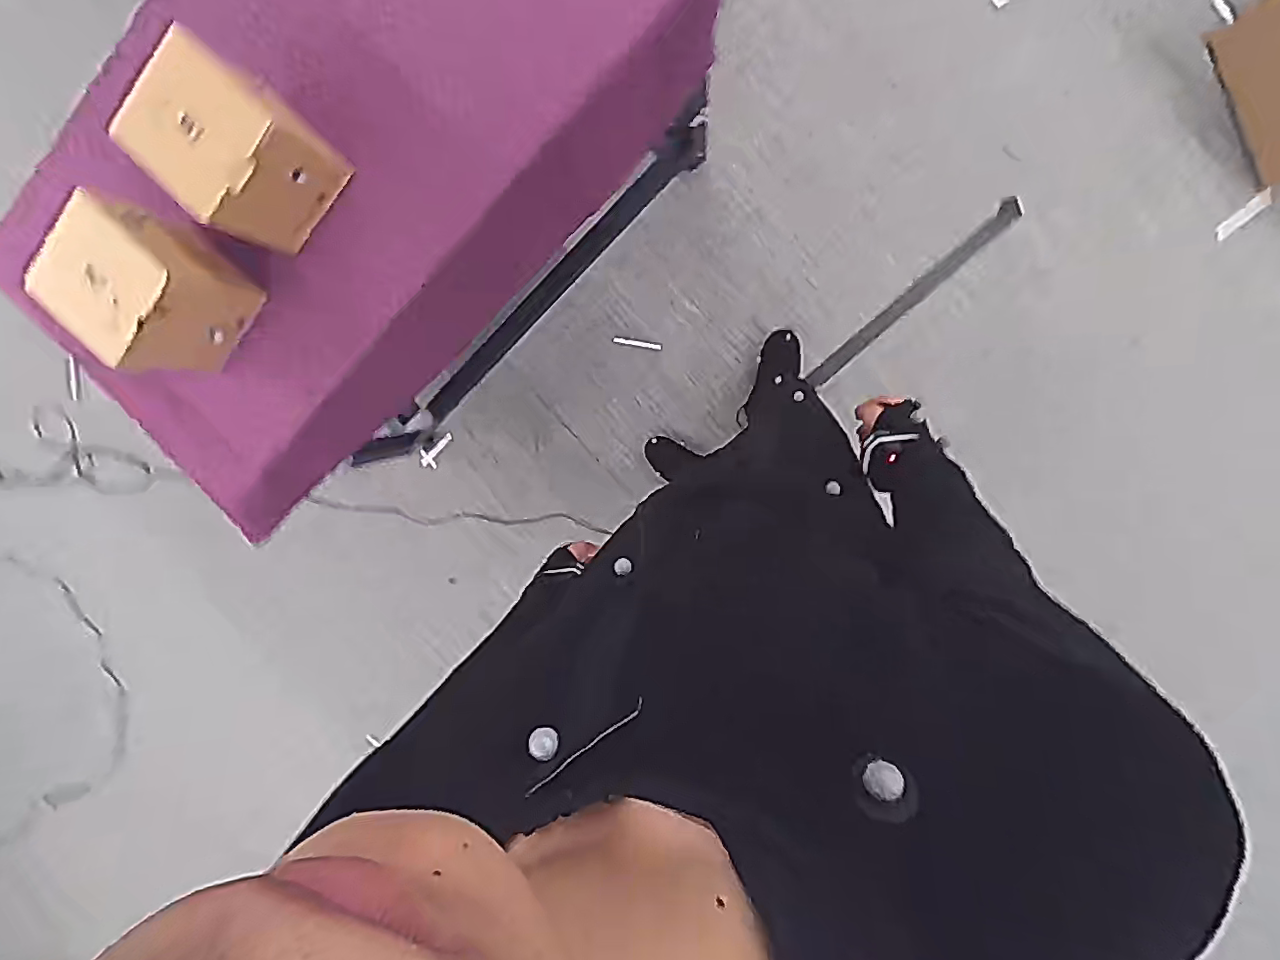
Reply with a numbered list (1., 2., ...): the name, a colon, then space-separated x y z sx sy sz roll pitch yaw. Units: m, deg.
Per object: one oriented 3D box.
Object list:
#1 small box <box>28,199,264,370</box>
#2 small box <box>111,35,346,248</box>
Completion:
1. small box: -0.740 -0.281 0.829 0.179 0.176 0.168 42 102 -2
2. small box: -0.576 -0.464 0.782 0.179 0.176 0.168 44 101 -1
